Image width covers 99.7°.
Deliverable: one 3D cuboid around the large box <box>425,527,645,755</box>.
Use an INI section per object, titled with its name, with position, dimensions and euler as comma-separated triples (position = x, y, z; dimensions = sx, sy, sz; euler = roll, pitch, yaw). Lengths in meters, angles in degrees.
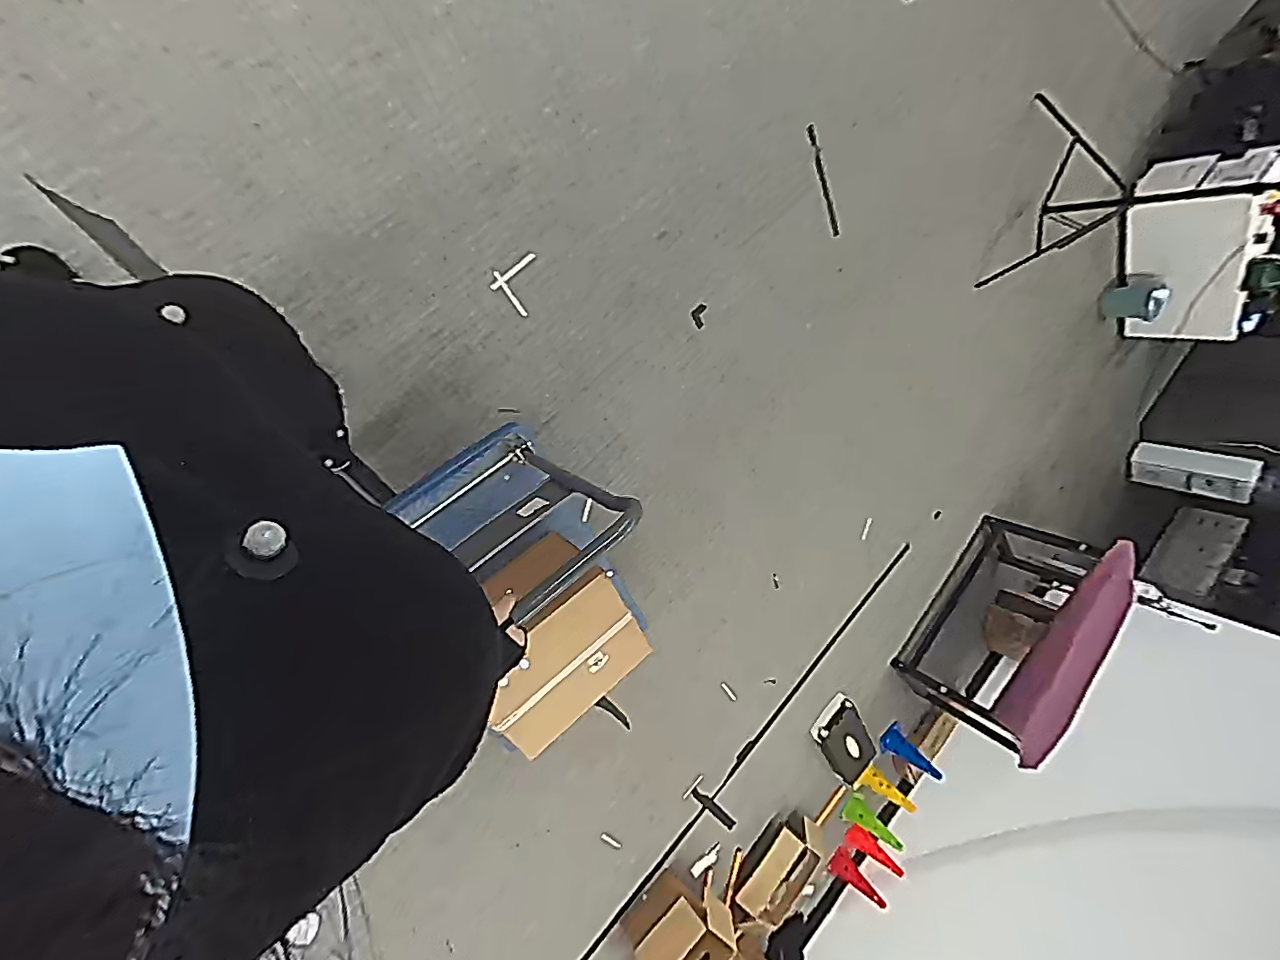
[large box]
position = -0.269, 0.393, 1.401
dimensions = 0.408, 0.320, 0.320
euler = -38, 123, -20
